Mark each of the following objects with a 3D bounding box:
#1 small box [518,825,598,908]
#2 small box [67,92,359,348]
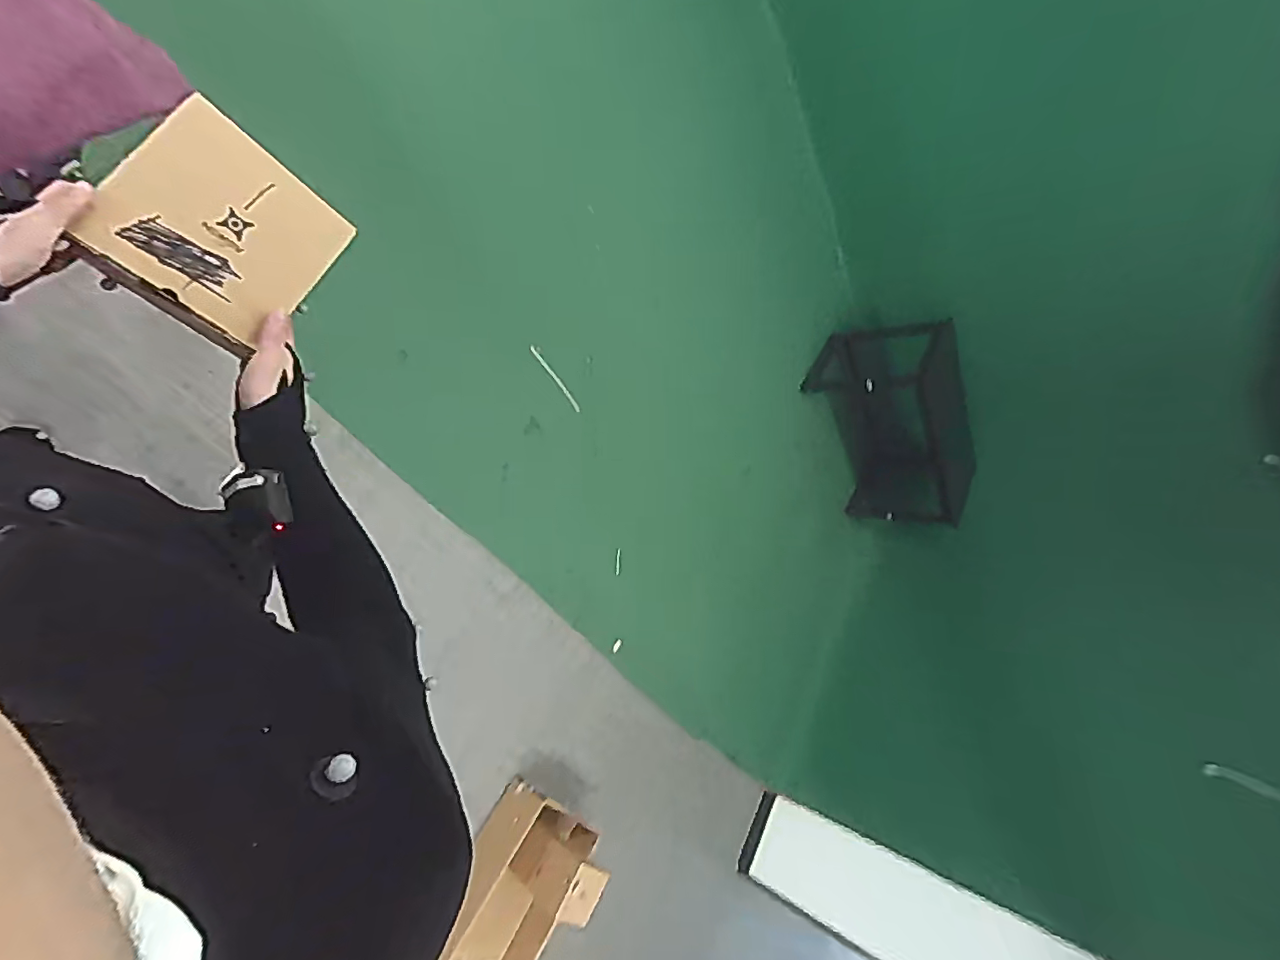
[{"bbox_3d":[-0.286,1.335,1.876,0.179,0.176,0.168,53,57,-37],"label":"small box"},{"bbox_3d":[-0.451,-0.260,0.589,0.168,0.176,0.179,43,70,-39],"label":"small box"}]
